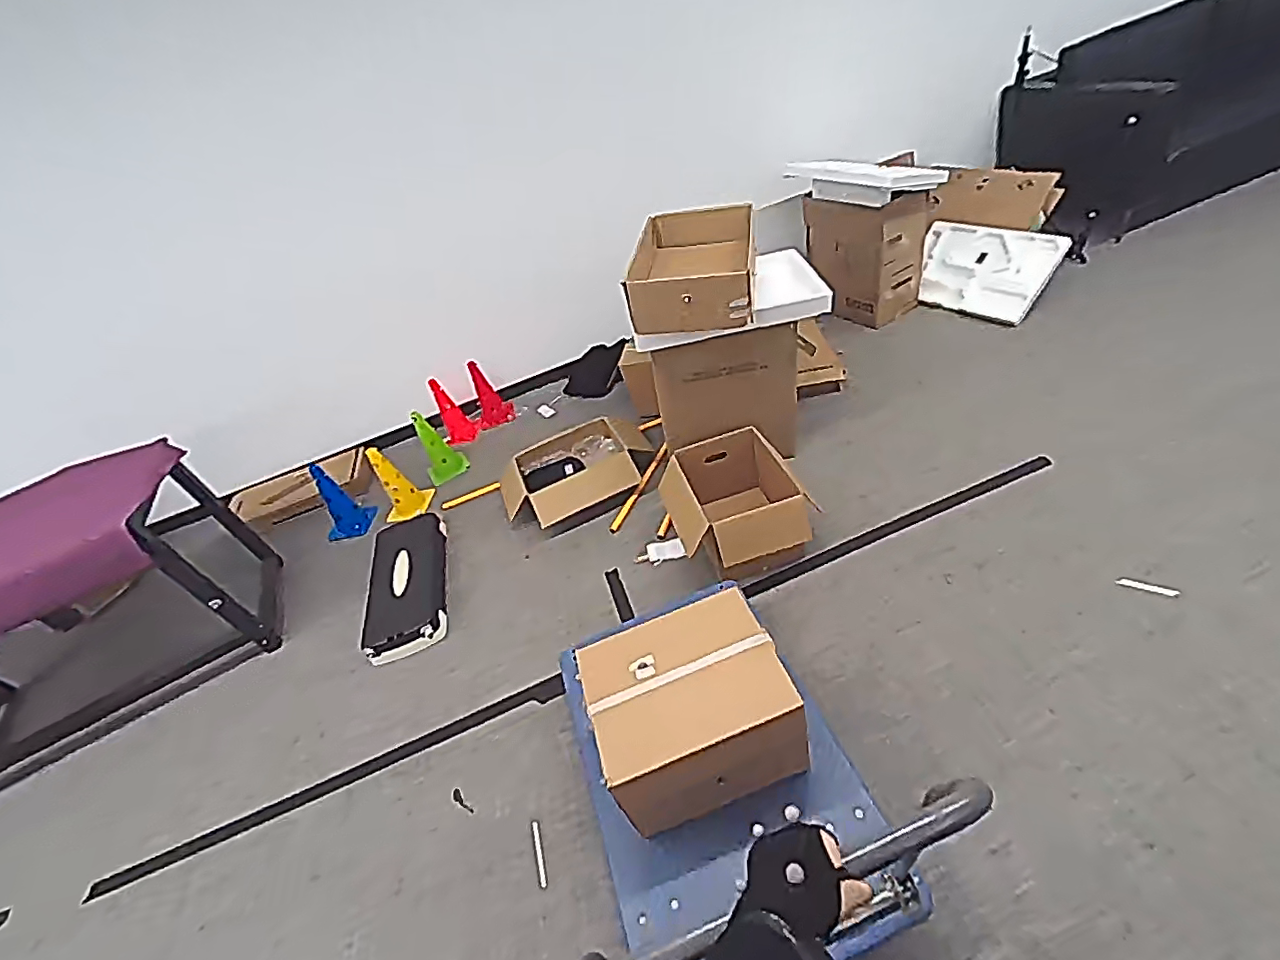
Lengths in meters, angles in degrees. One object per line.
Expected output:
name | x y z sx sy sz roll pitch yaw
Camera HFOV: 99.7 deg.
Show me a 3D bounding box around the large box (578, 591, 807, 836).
large box | 0.121 0.528 1.236 0.408 0.320 0.320 -22 39 -4
